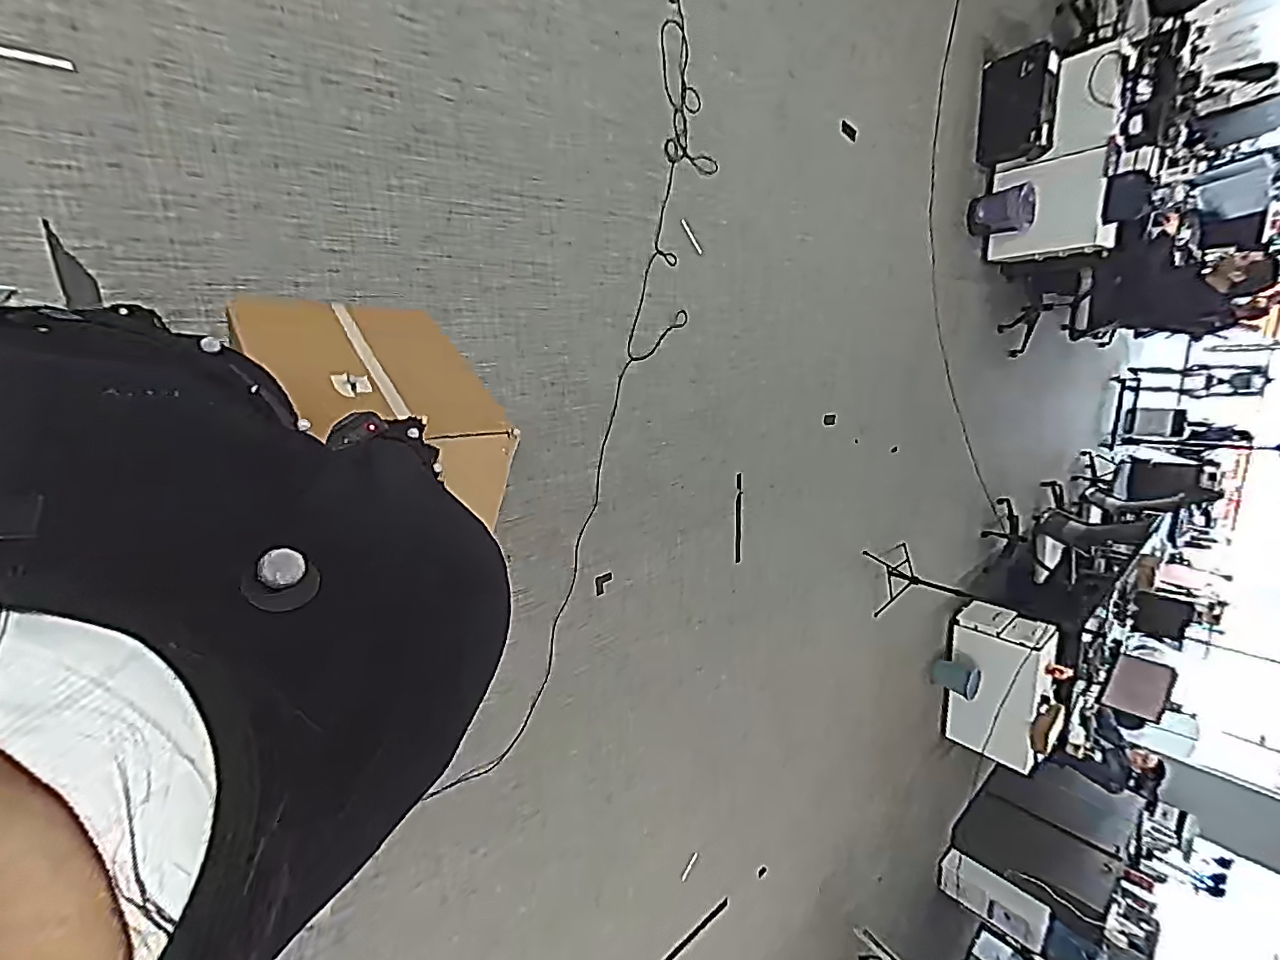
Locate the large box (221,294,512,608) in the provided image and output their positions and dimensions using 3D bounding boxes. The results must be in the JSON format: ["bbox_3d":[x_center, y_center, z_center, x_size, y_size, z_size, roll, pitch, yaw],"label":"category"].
[{"bbox_3d":[-0.469,-0.065,0.909,0.320,0.408,0.320,-11,139,-39],"label":"large box"}]
